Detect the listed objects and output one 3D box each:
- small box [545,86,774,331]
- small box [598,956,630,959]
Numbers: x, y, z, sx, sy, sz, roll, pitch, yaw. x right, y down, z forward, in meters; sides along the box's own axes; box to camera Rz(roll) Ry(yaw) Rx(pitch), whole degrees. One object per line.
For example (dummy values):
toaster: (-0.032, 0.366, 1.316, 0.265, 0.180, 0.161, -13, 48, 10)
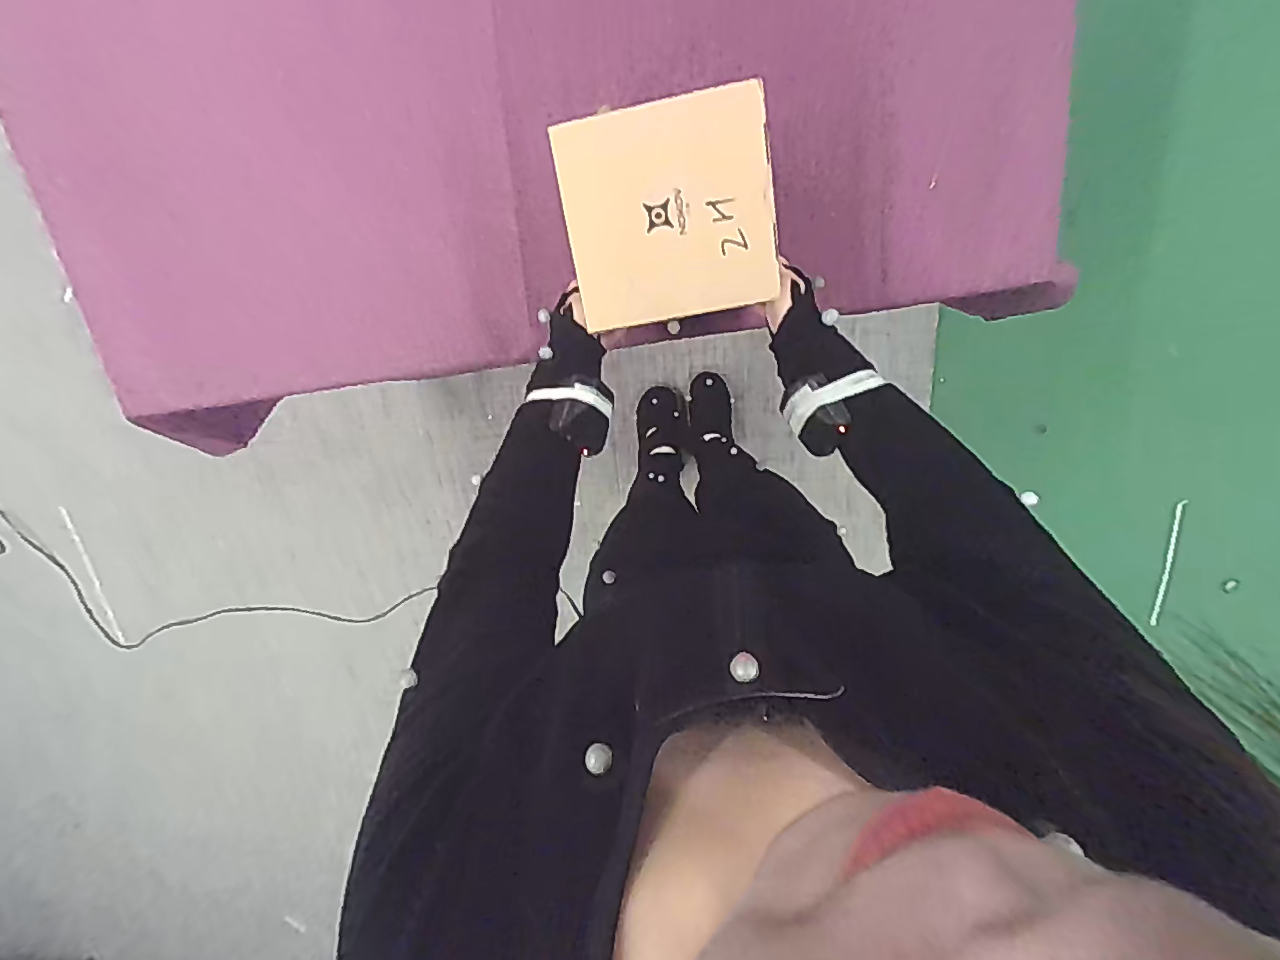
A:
small box: (0.025, -0.243, 0.527, 0.179, 0.176, 0.168, -8, 109, 7)
small box: (-0.051, 1.510, 1.535, 0.168, 0.176, 0.179, 1, 109, 4)
